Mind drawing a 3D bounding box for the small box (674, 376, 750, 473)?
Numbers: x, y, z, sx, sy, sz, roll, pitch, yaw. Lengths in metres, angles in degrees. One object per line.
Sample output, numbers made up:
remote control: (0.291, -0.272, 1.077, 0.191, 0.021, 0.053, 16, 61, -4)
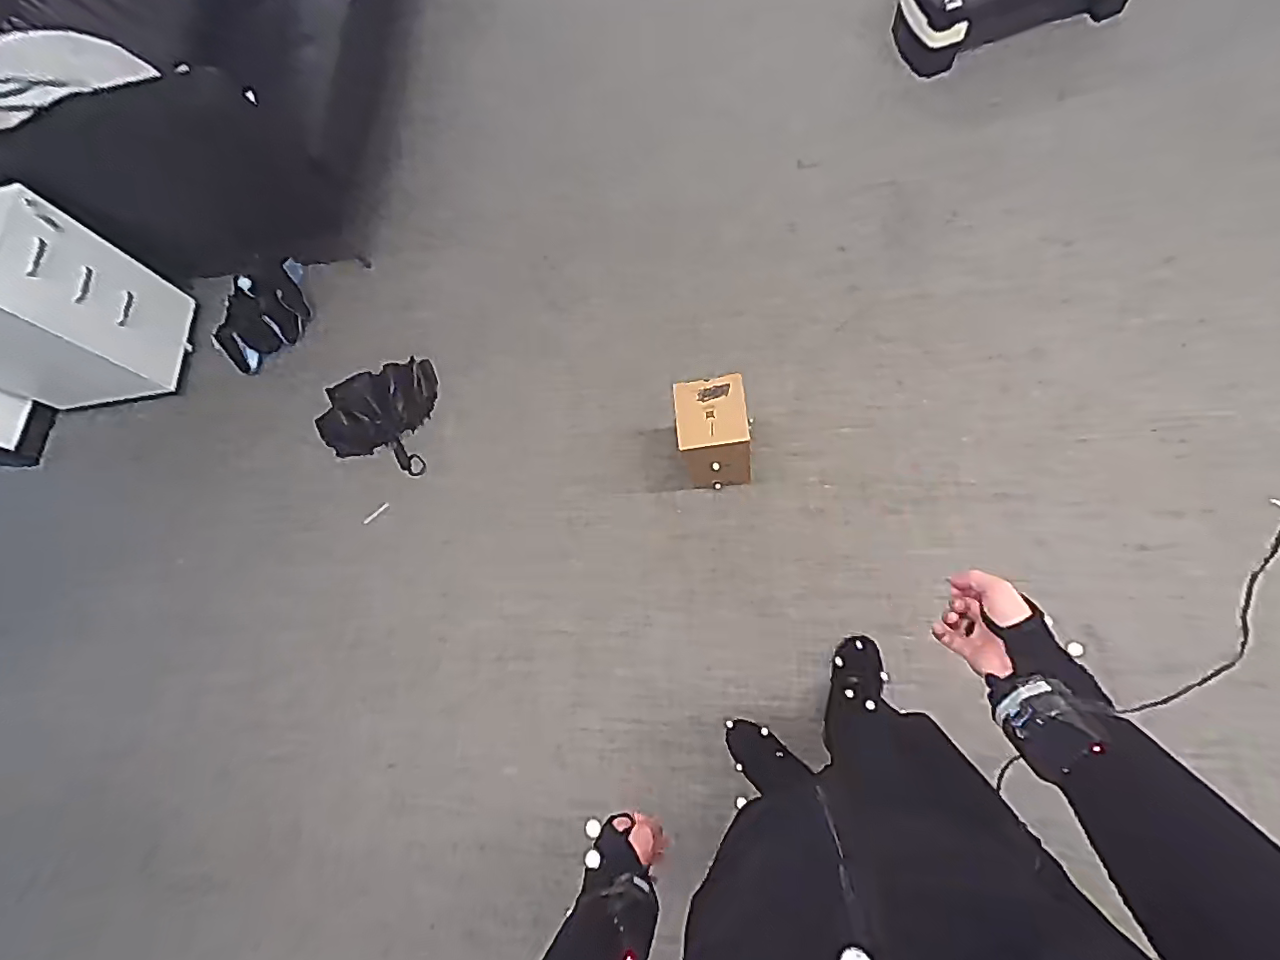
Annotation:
small box: (0.177, -0.132, 1.331, 0.168, 0.176, 0.179, -7, 71, 10)

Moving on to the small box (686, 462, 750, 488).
small box: (0.210, -0.089, 1.487, 0.168, 0.176, 0.179, -6, 72, 10)
